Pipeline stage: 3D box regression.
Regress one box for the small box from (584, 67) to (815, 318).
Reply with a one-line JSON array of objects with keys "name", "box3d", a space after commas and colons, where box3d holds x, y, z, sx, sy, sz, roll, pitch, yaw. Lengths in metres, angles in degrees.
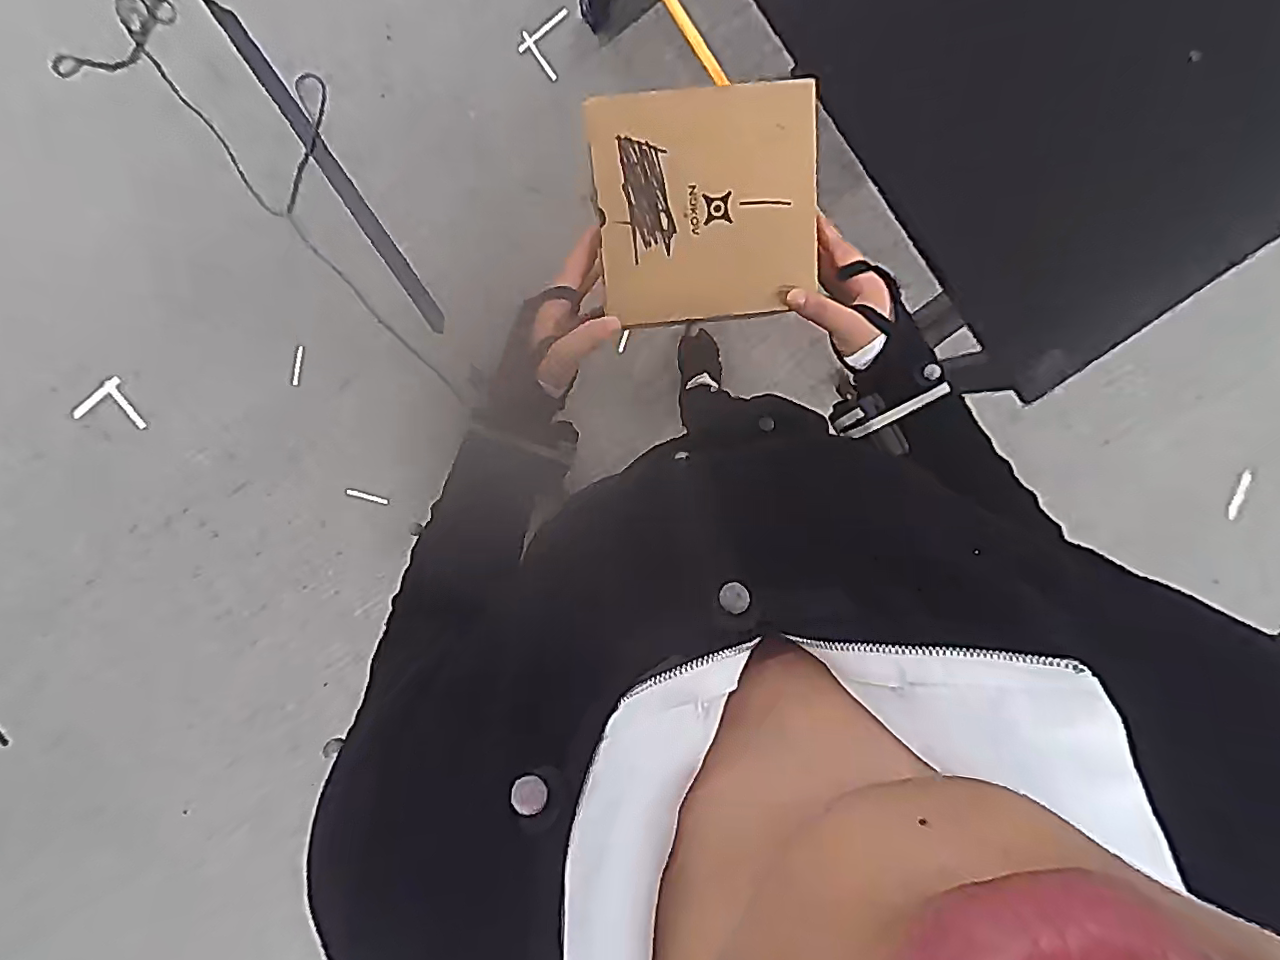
[{"name": "small box", "box3d": [0.047, -0.244, 0.501, 0.179, 0.176, 0.168, -6, 105, -2]}]
